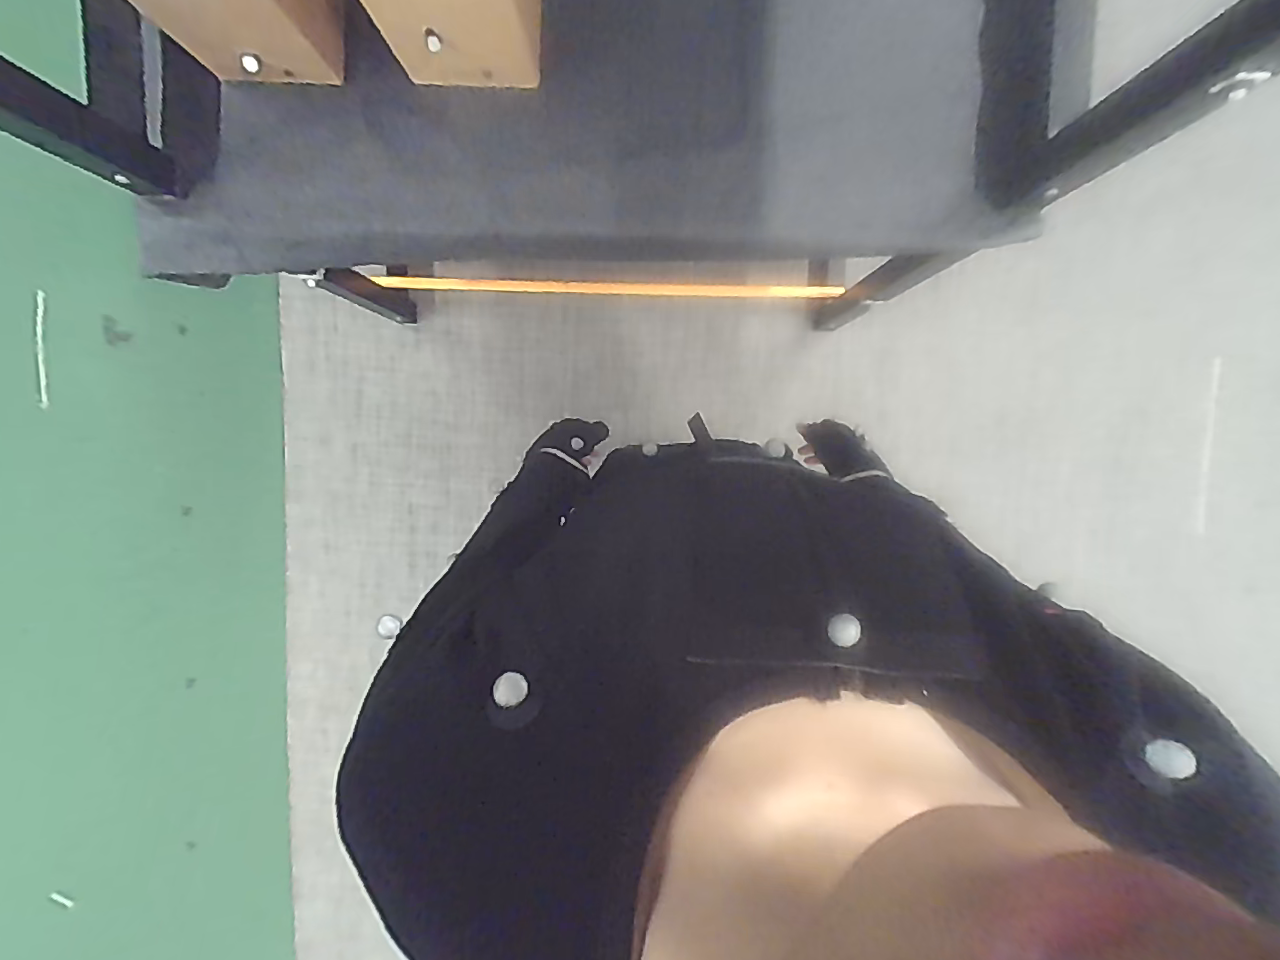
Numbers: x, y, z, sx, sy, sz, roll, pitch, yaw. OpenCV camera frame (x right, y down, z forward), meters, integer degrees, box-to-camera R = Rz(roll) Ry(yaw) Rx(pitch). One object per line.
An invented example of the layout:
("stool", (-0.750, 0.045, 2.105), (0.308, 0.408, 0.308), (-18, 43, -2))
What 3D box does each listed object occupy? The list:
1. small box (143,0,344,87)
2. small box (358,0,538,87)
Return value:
("small box", (-0.468, -0.603, 0.626), (0.168, 0.176, 0.179), (2, 95, 0))
("small box", (-0.215, -0.597, 0.628), (0.168, 0.176, 0.179), (2, 94, 0))
